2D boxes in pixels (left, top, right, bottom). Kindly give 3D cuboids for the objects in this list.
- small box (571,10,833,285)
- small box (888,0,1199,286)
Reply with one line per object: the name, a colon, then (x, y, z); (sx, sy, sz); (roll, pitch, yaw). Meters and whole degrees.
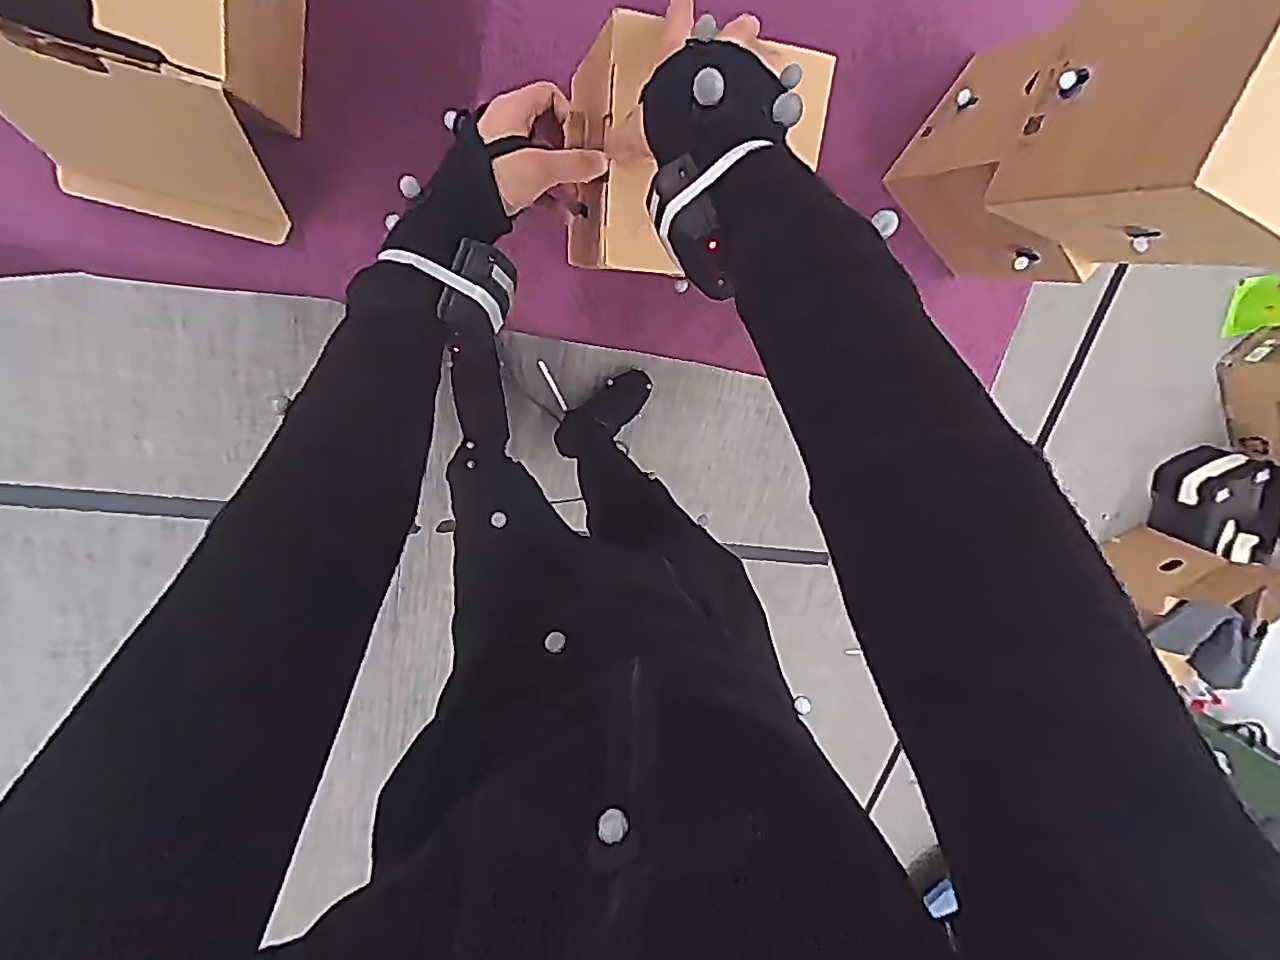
small box: (0.036, -0.273, 0.486); (0.179, 0.176, 0.168); (-1, 113, -17)
small box: (0.412, -0.335, 0.574); (0.179, 0.176, 0.168); (33, 100, -26)
